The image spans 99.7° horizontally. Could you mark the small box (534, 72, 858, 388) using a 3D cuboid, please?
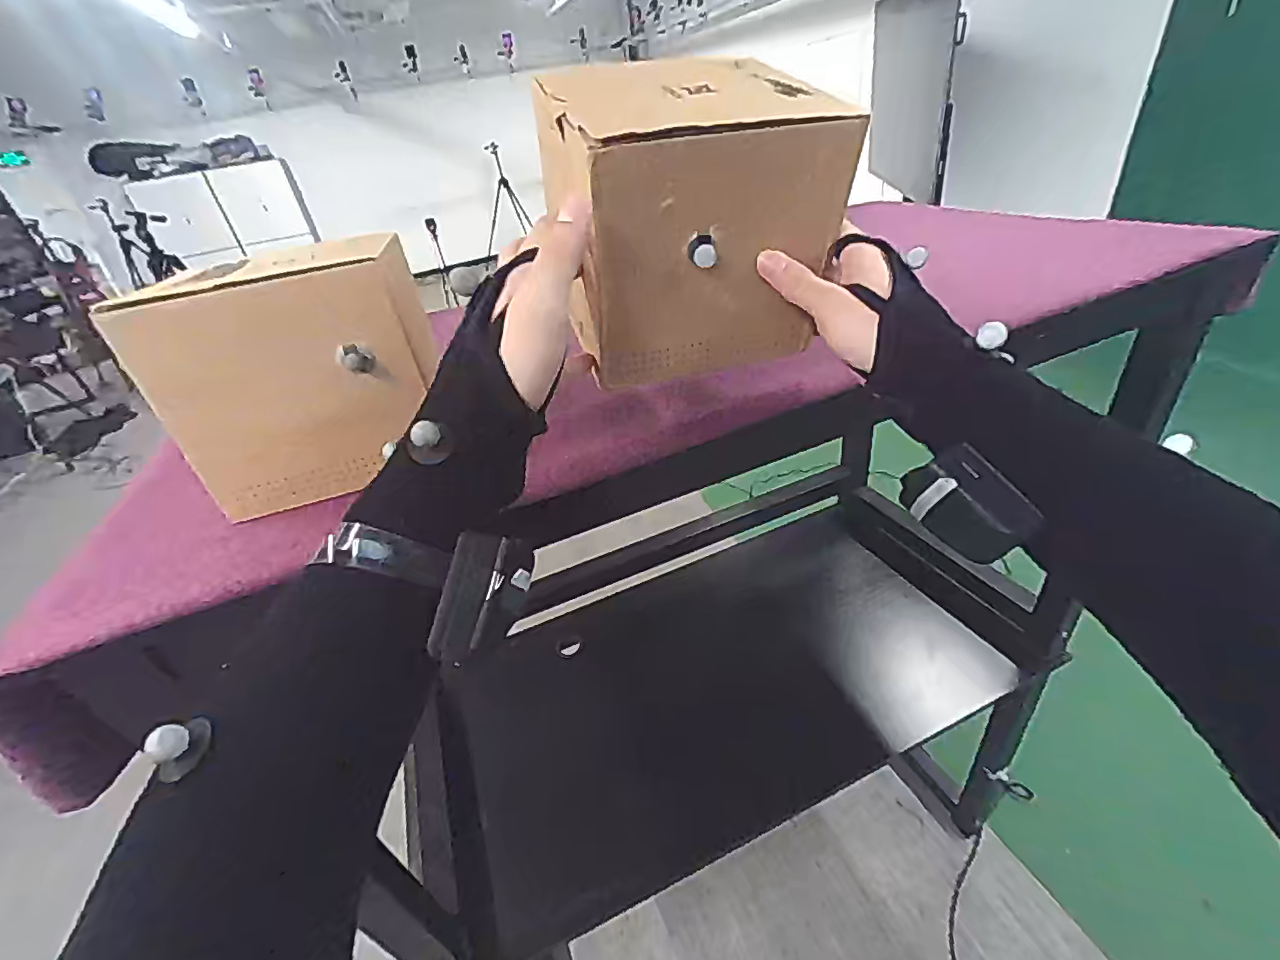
[{"bbox_3d":[0.030,-0.191,0.418,0.179,0.176,0.168,-14,48,-12],"label":"small box"}]
